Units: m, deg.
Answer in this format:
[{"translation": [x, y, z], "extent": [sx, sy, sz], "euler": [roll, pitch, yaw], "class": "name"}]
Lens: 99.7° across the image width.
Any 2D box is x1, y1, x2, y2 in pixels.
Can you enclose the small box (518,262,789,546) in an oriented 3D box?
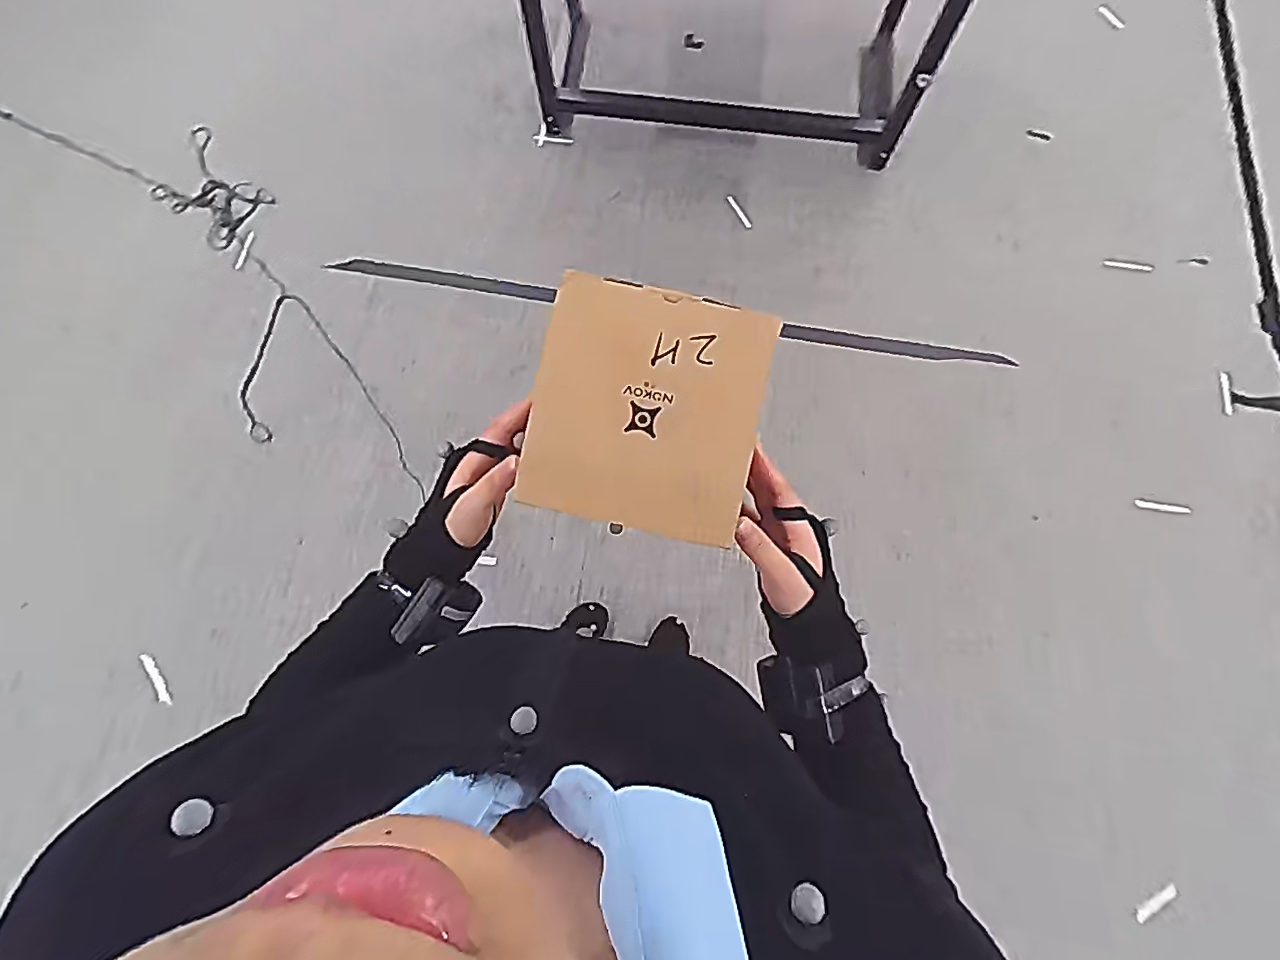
[{"translation": [0.010, -0.054, 0.462], "extent": [0.168, 0.176, 0.179], "euler": [12, 89, 0], "class": "small box"}]
